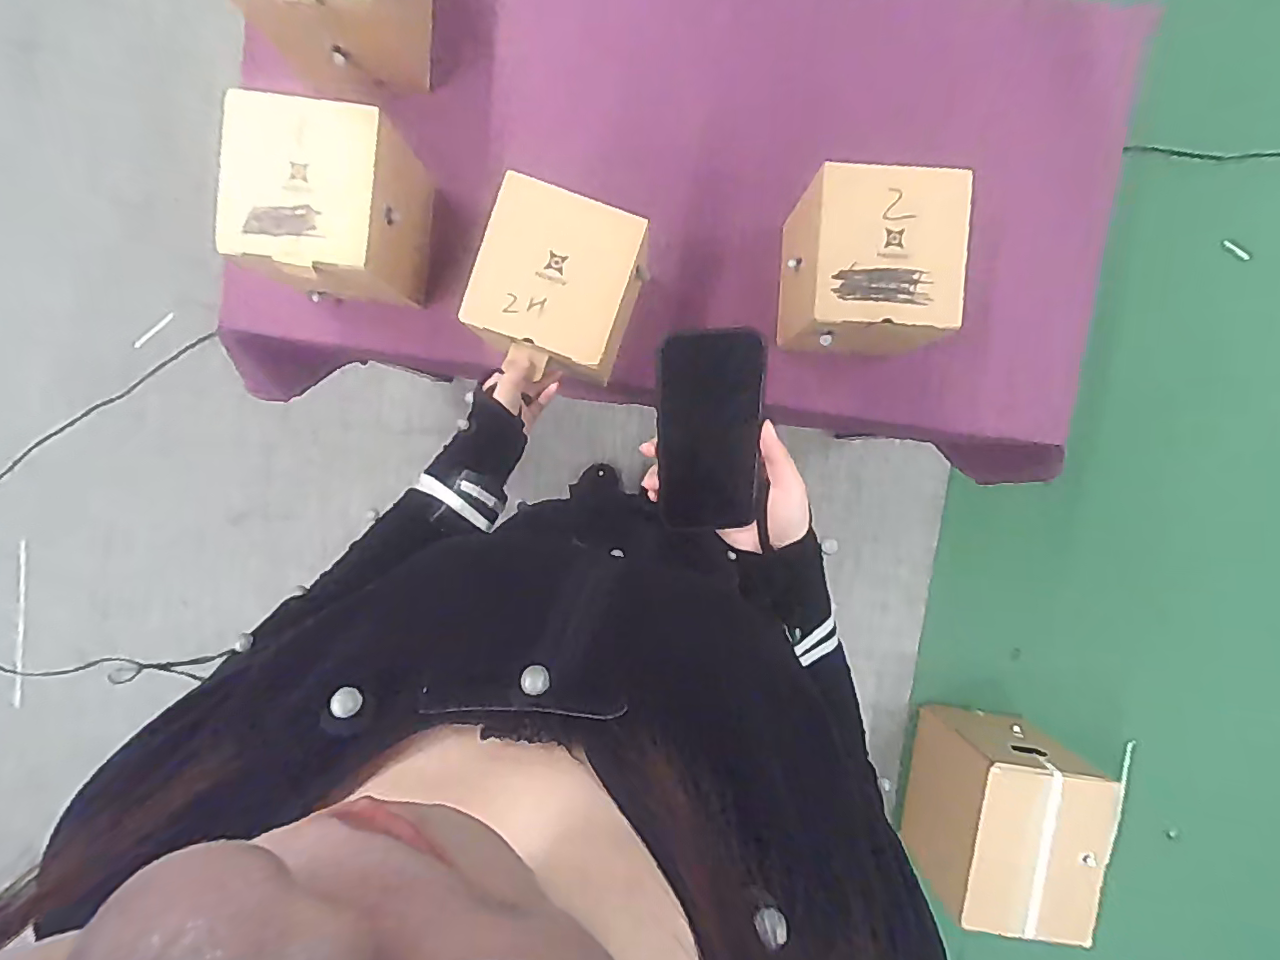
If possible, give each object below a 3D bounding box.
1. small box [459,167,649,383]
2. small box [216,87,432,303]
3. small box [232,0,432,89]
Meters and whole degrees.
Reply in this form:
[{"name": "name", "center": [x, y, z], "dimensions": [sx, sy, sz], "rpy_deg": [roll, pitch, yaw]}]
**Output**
[{"name": "small box", "center": [-0.097, -0.237, 0.673], "dimensions": [0.168, 0.176, 0.179], "rpy_deg": [20, 93, -1]}, {"name": "small box", "center": [-0.372, -0.331, 0.665], "dimensions": [0.168, 0.176, 0.179], "rpy_deg": [7, 92, -2]}, {"name": "small box", "center": [-0.361, -0.610, 0.647], "dimensions": [0.168, 0.176, 0.179], "rpy_deg": [4, 95, -1]}]
